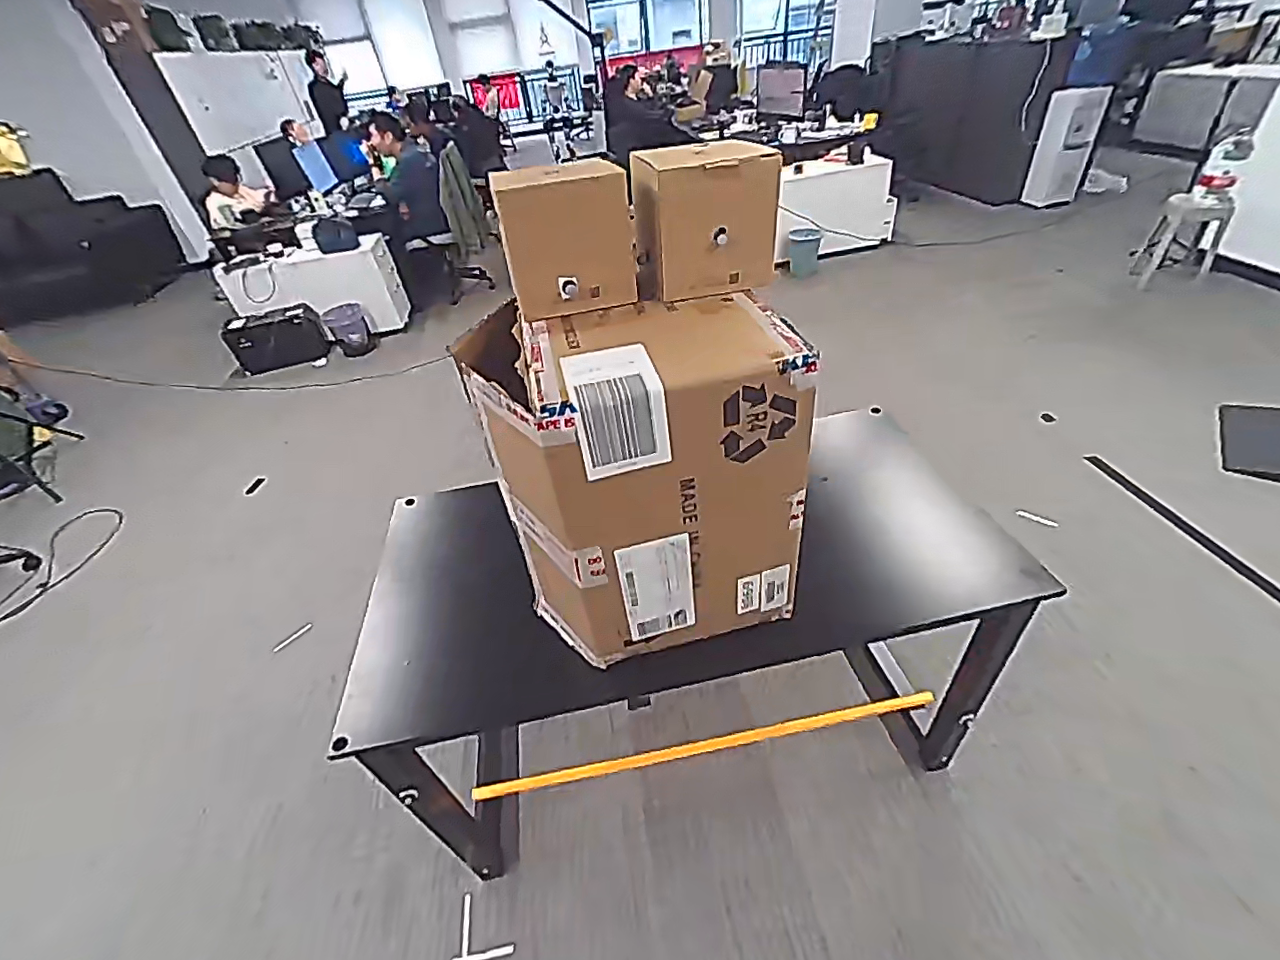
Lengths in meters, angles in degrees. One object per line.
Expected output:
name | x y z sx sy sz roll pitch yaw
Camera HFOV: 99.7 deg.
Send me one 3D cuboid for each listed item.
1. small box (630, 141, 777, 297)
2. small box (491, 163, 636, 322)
small box | 0.086 -0.378 0.790 0.168 0.176 0.179 -11 39 -7
small box | -0.110 -0.345 0.781 0.168 0.176 0.179 -15 38 -9
